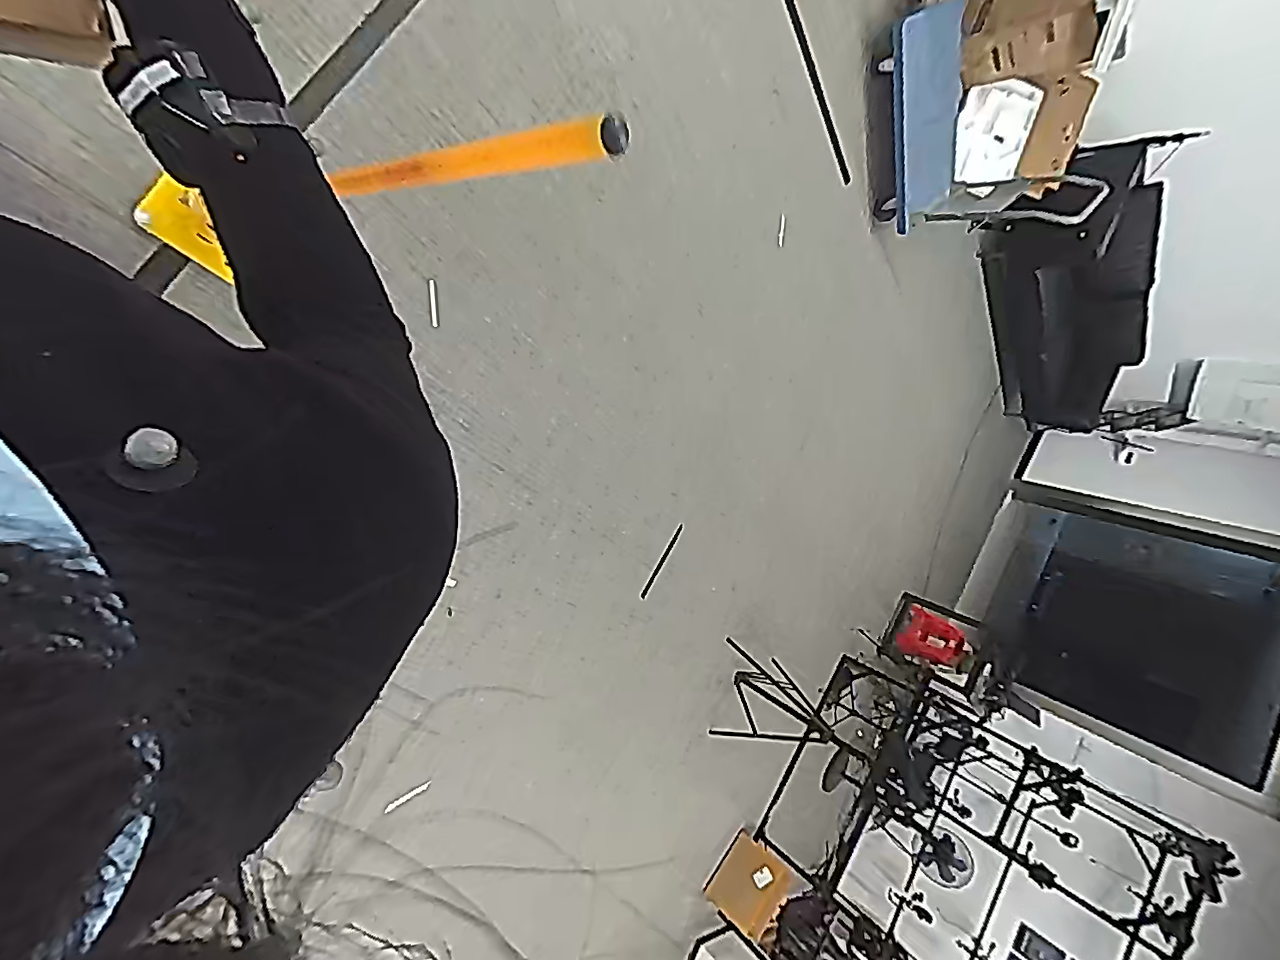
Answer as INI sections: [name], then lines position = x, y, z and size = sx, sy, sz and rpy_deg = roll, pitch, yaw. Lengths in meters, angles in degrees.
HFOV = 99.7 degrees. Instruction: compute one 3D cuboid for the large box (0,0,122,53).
[large box]
position = -0.566, -0.438, 0.253
size = 0.408, 0.320, 0.320
rpy_deg = -18, 126, -37
